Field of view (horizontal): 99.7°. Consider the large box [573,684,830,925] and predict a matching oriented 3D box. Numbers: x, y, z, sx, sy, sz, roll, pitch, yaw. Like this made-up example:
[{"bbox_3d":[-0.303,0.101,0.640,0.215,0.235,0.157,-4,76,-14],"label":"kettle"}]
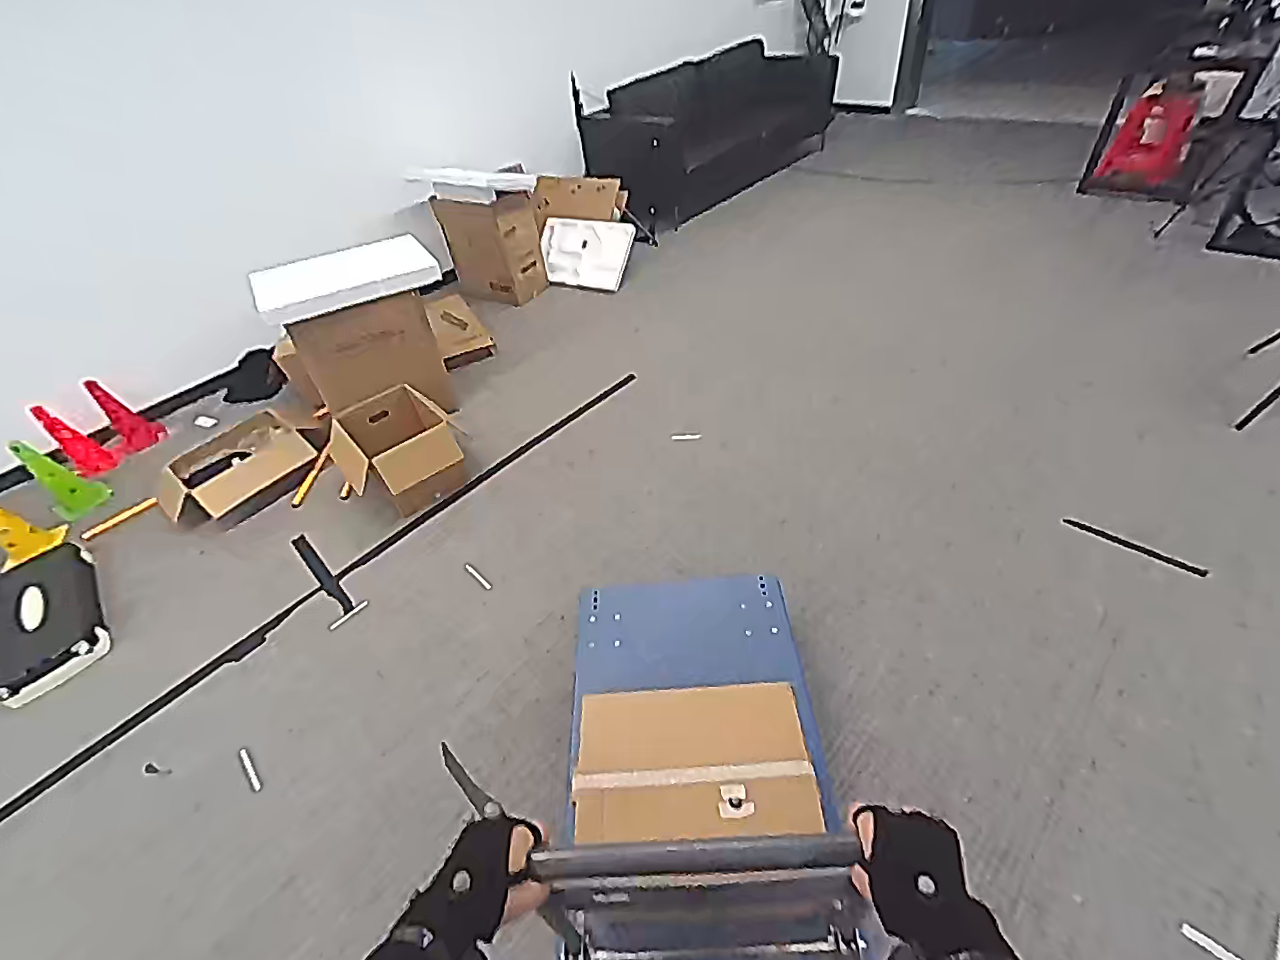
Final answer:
[{"bbox_3d":[0.099,0.619,1.032,0.408,0.320,0.320,-5,45,3],"label":"large box"}]
